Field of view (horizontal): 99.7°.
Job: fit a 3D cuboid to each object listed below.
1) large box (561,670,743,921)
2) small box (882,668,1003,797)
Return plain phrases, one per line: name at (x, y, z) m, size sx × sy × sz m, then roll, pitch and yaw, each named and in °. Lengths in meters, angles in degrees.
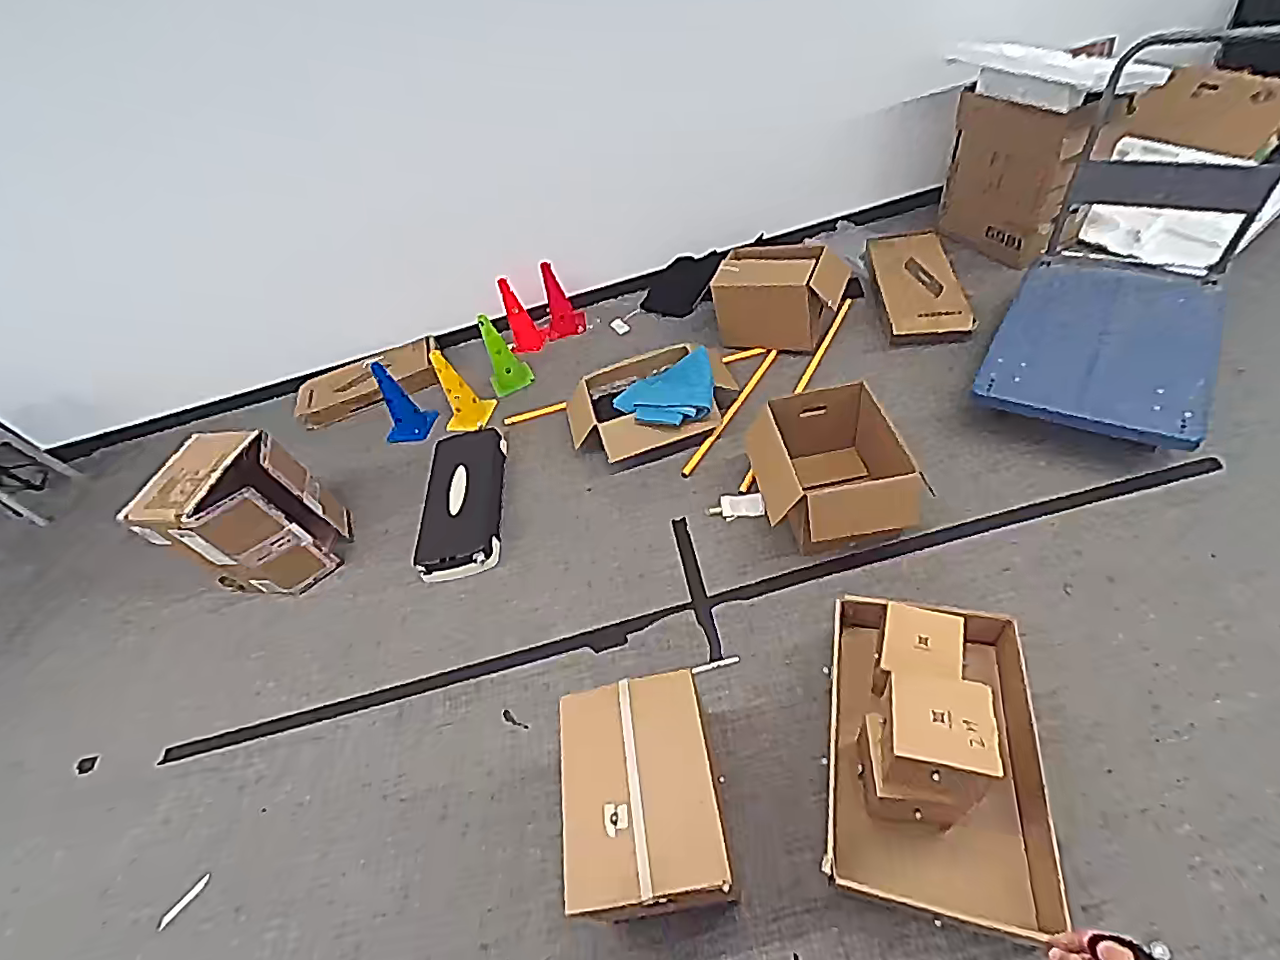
large box at (0.025, 0.701, 1.209) m, size 0.320 × 0.320 × 0.408 m, roll -14°, pitch 49°, yaw 4°
small box at (0.571, 0.491, 1.048) m, size 0.179 × 0.176 × 0.168 m, roll 5°, pitch 49°, yaw 18°
